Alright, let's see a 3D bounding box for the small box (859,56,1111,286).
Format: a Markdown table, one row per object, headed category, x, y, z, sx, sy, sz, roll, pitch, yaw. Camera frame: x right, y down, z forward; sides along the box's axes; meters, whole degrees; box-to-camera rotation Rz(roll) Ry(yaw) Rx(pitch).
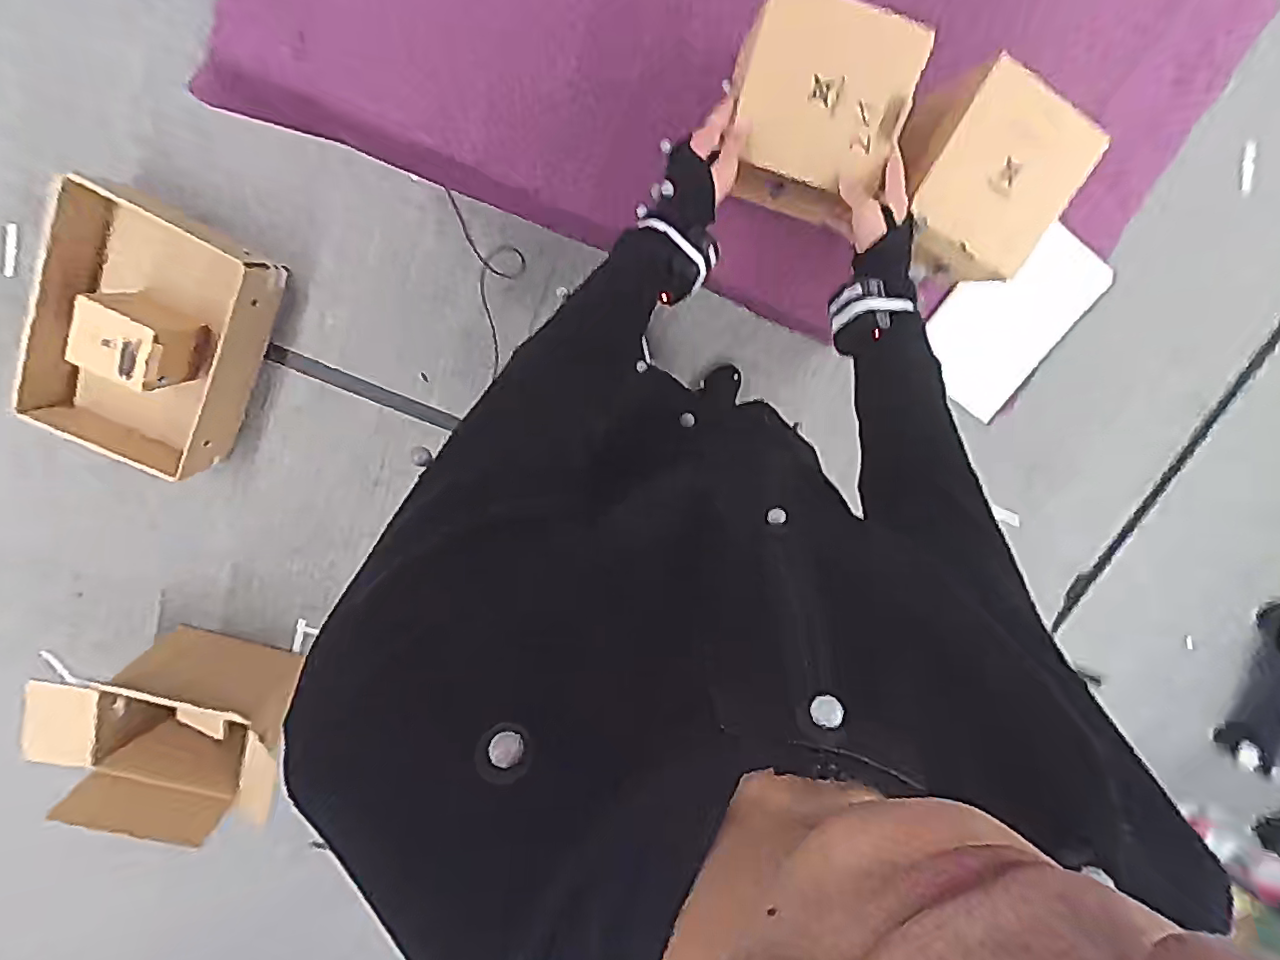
| category | x | y | z | sx | sy | sz | roll | pitch | yaw |
| --- | --- | --- | --- | --- | --- | --- | --- | --- | --- |
| small box | 0.406 | -0.362 | 0.678 | 0.168 | 0.176 | 0.179 | 27 | 105 | -12 |
